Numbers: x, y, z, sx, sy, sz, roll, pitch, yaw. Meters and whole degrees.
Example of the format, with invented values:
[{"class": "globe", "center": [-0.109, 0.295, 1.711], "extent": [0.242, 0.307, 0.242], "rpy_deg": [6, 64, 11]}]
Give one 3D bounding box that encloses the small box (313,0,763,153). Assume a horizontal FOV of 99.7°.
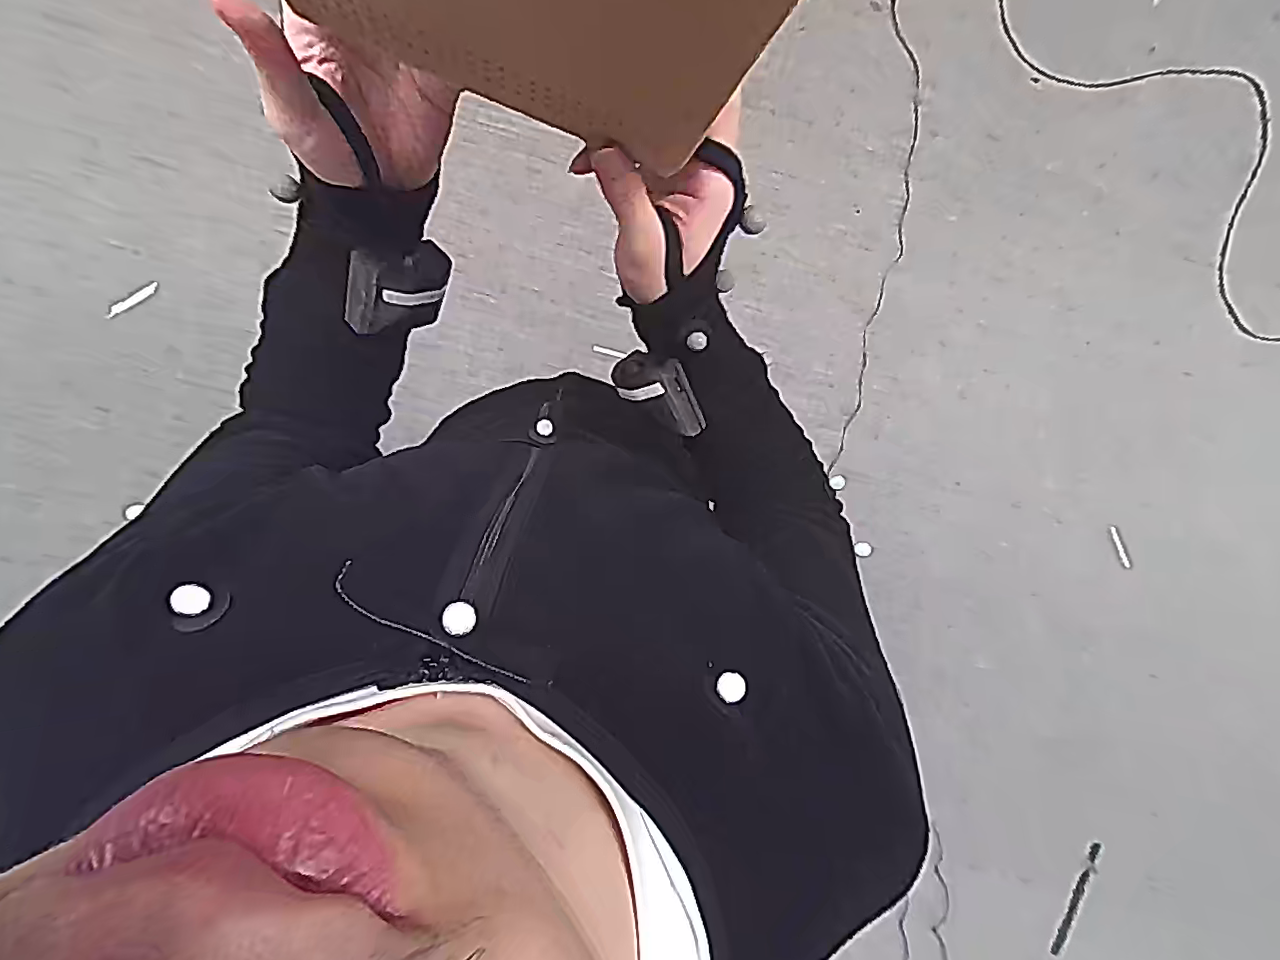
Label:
[{"class": "small box", "center": [-0.026, -0.242, 0.171], "extent": [0.179, 0.176, 0.168], "rpy_deg": [15, 97, -14]}]
